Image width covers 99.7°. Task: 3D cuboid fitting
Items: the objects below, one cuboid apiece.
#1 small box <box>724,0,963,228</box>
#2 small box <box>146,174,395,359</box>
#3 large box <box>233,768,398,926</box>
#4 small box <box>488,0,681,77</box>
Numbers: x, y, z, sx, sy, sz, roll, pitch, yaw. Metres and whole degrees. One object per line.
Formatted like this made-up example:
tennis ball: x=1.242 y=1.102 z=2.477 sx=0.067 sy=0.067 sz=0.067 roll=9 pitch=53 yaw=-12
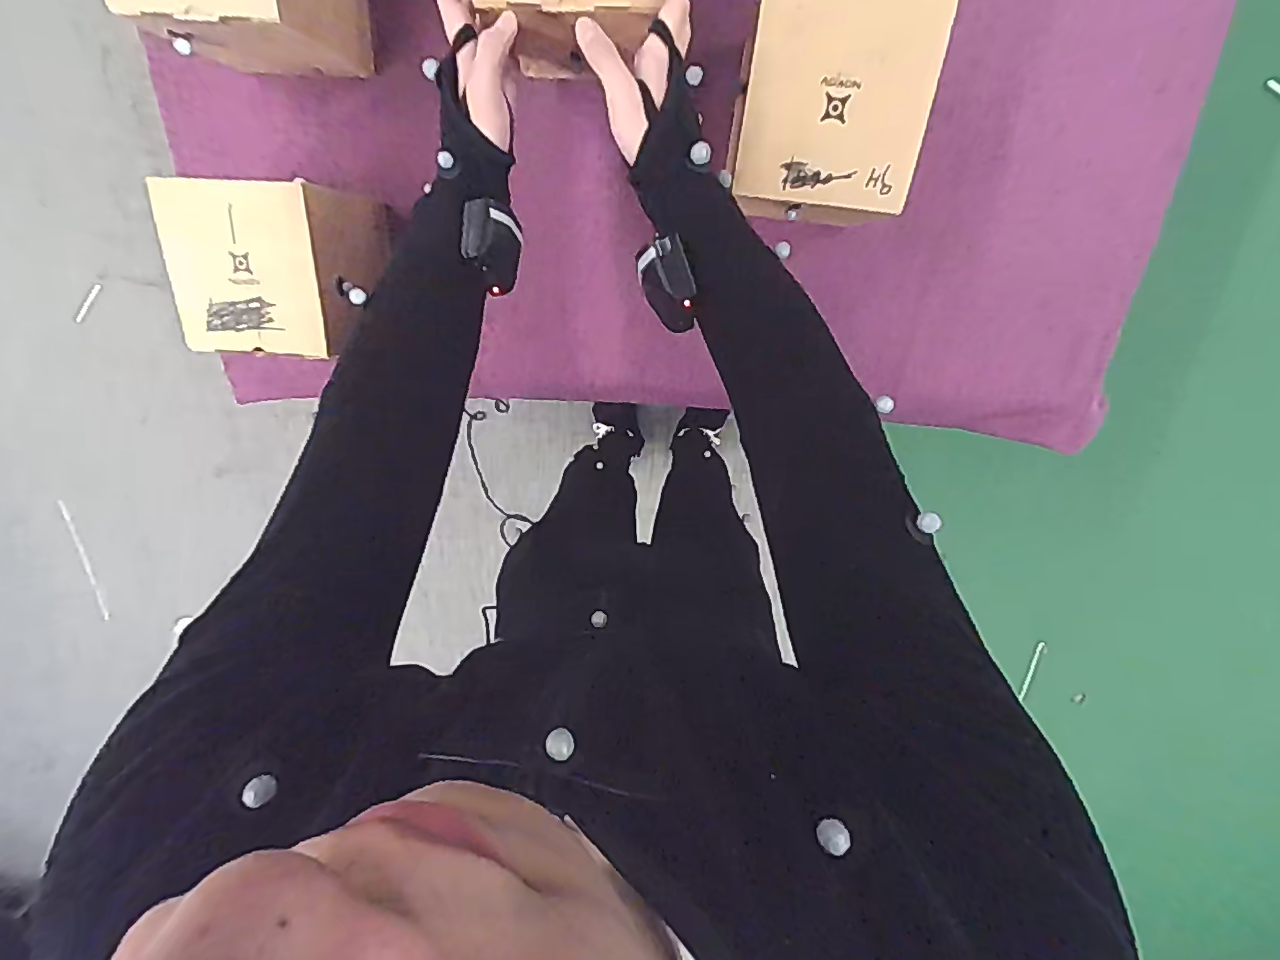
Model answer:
small box: x=0.186 y=-0.371 z=0.557 sx=0.168 sy=0.176 sz=0.179 roll=8 pitch=112 yaw=1
small box: x=-0.412 y=-0.248 z=0.642 sx=0.168 sy=0.176 sz=0.179 roll=3 pitch=111 yaw=2
large box: x=-1.212 y=1.379 z=2.047 sx=0.408 sy=0.320 sz=0.320 roll=26 pitch=111 yaw=-7
small box: x=-0.043 y=-0.496 z=0.483 sx=0.168 sy=0.176 sz=0.179 roll=4 pitch=112 yaw=2
